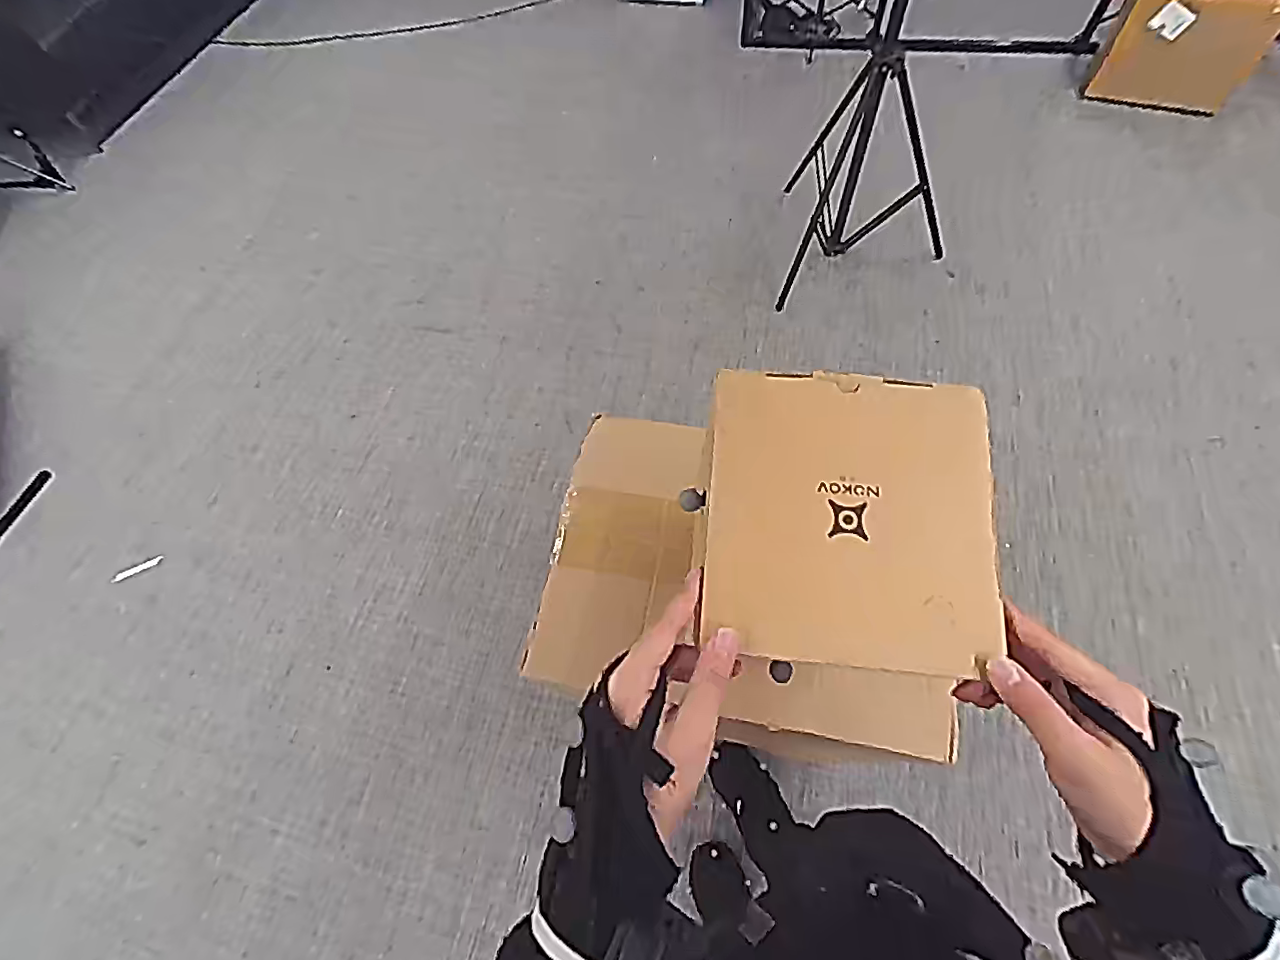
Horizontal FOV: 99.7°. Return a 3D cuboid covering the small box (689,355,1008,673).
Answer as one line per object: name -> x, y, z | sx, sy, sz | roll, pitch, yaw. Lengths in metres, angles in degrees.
small box -> 0.124, 0.033, 0.386 | 0.168, 0.176, 0.179 | 4, 74, 4
